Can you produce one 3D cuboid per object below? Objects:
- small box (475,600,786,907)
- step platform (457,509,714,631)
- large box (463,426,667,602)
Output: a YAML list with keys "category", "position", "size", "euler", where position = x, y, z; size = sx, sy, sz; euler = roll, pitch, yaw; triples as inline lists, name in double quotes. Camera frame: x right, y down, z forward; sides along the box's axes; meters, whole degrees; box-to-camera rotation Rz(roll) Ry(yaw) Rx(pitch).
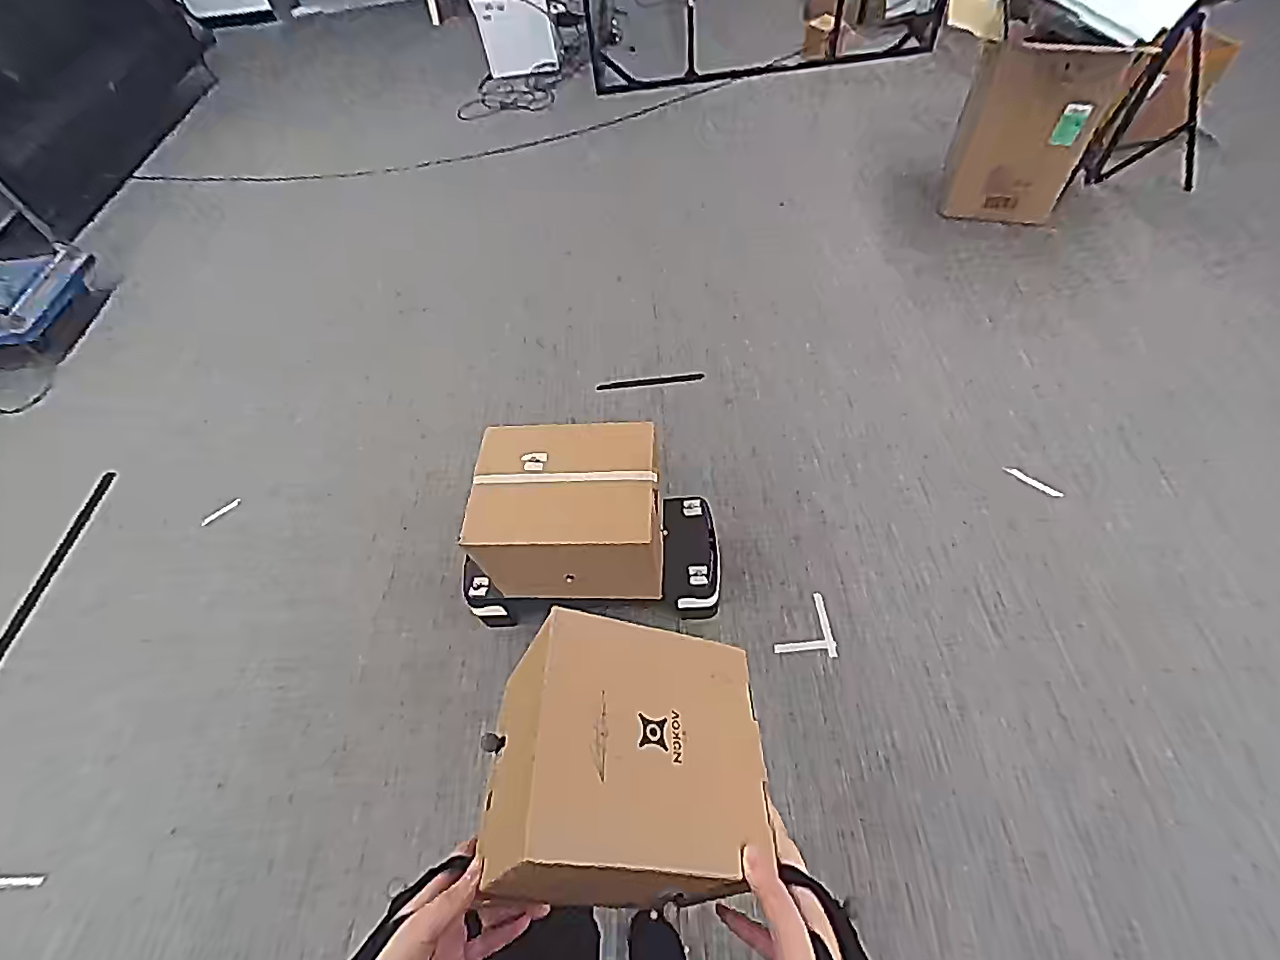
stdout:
- category: "small box"
  position: [-0.014, 0.225, 0.433]
  size: [0.179, 0.176, 0.168]
  euler: [18, 42, -16]
- category: "step platform"
  position: [-0.141, 0.236, 1.486]
  size: [0.684, 0.204, 0.286]
  euler: [0, 57, 8]
- category: "large box"
  position: [-0.145, 0.094, 1.293]
  size: [0.408, 0.320, 0.320]
  euler: [-2, 56, 7]
